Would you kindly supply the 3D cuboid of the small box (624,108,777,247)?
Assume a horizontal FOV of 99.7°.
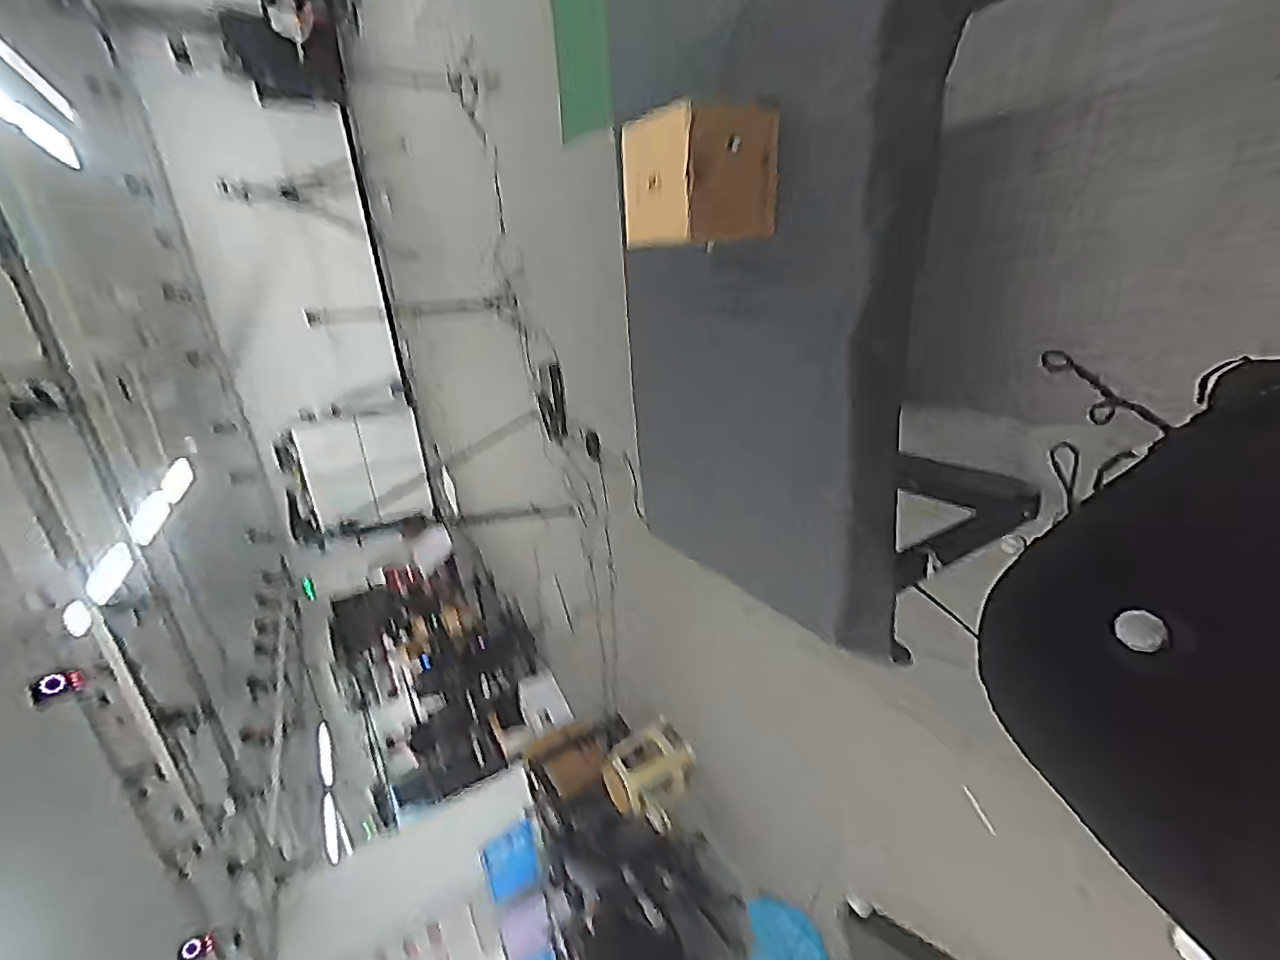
[{"bbox_3d":[0.093,-0.458,0.841,0.179,0.176,0.168,30,128,54],"label":"small box"}]
